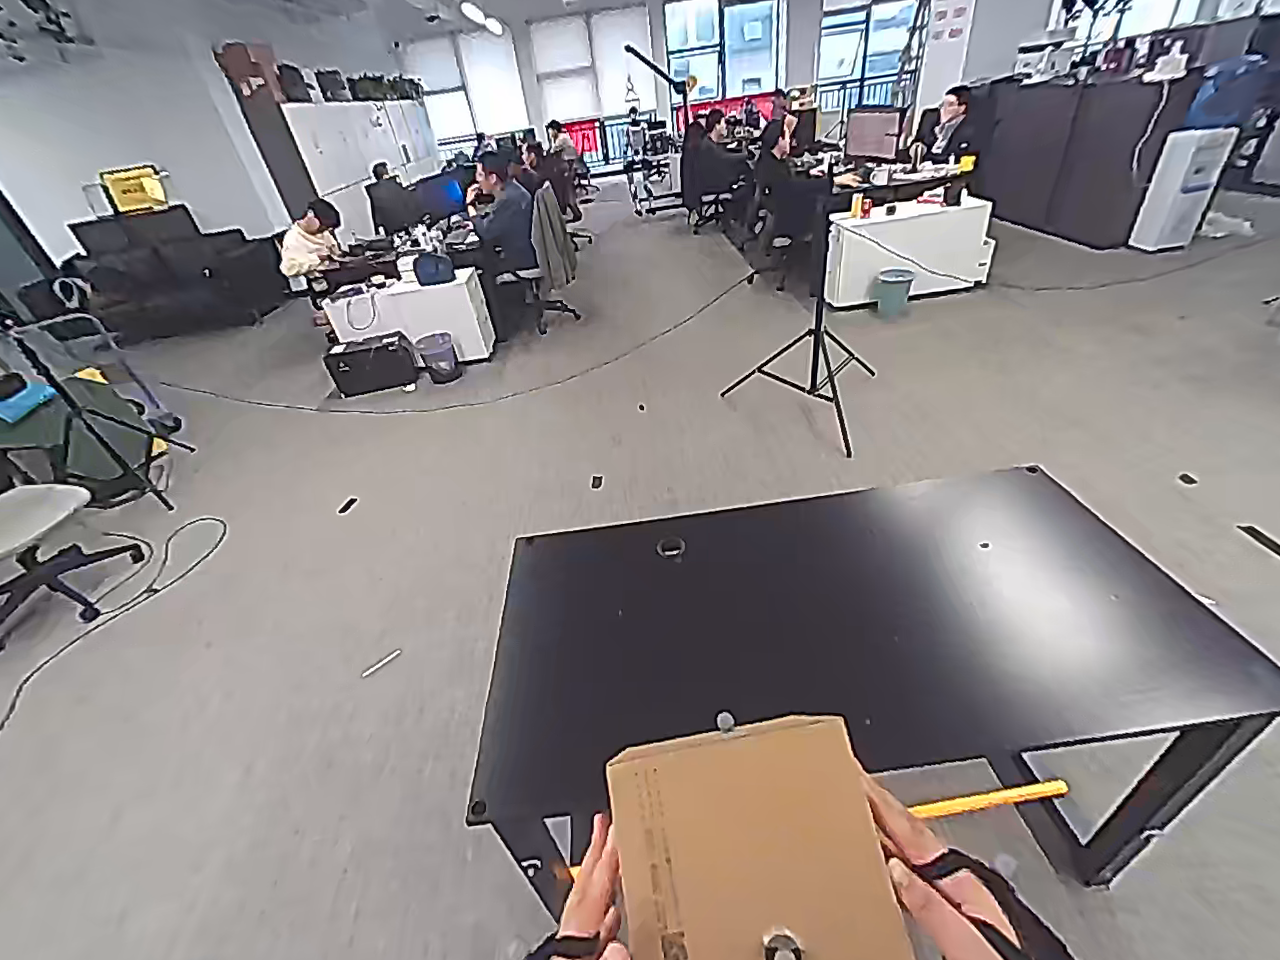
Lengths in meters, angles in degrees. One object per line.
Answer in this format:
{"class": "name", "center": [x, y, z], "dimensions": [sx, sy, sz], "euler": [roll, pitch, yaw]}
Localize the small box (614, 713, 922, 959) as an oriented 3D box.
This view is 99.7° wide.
{"class": "small box", "center": [0.076, 0.278, 0.406], "dimensions": [0.176, 0.179, 0.168], "euler": [-10, 67, -2]}
